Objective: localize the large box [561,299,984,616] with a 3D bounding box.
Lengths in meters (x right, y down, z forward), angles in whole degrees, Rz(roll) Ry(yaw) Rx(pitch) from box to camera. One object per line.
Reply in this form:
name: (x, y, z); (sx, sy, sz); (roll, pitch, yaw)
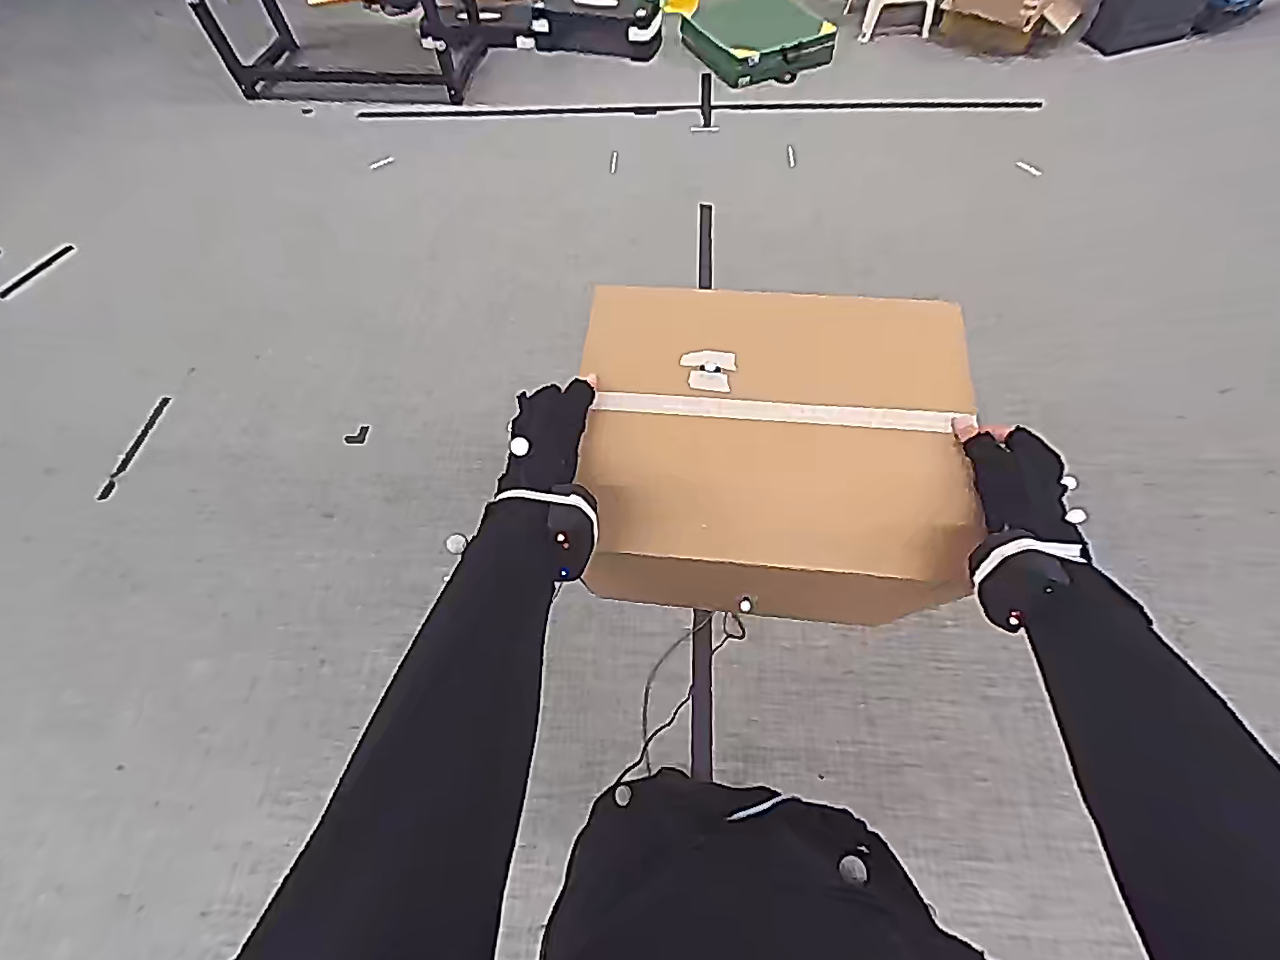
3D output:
large box: (0.146, -0.009, 0.703); (0.408, 0.320, 0.320); (4, 68, 7)
